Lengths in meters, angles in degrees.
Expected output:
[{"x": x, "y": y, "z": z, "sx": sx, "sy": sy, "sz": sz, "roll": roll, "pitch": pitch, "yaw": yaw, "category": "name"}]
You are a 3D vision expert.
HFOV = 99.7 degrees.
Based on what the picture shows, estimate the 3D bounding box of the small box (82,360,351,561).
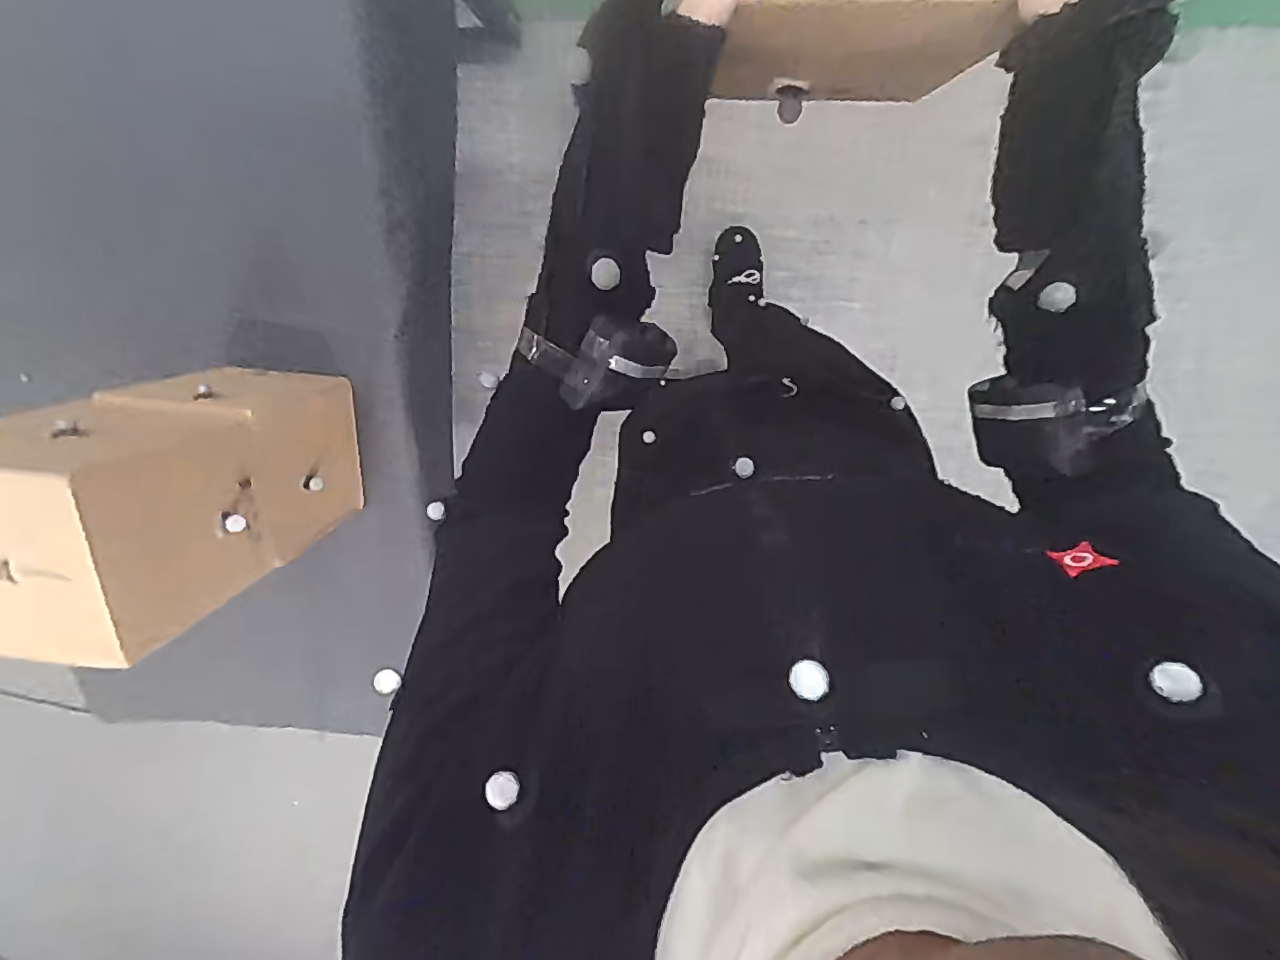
[{"x": -0.459, "y": -0.031, "z": 0.623, "sx": 0.168, "sy": 0.176, "sz": 0.179, "roll": 7, "pitch": 111, "yaw": 2, "category": "small box"}]

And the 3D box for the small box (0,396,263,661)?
[{"x": -0.479, "y": 0.028, "z": 0.470, "sx": 0.179, "sy": 0.176, "sz": 0.168, "roll": 6, "pitch": 111, "yaw": 2, "category": "small box"}]
